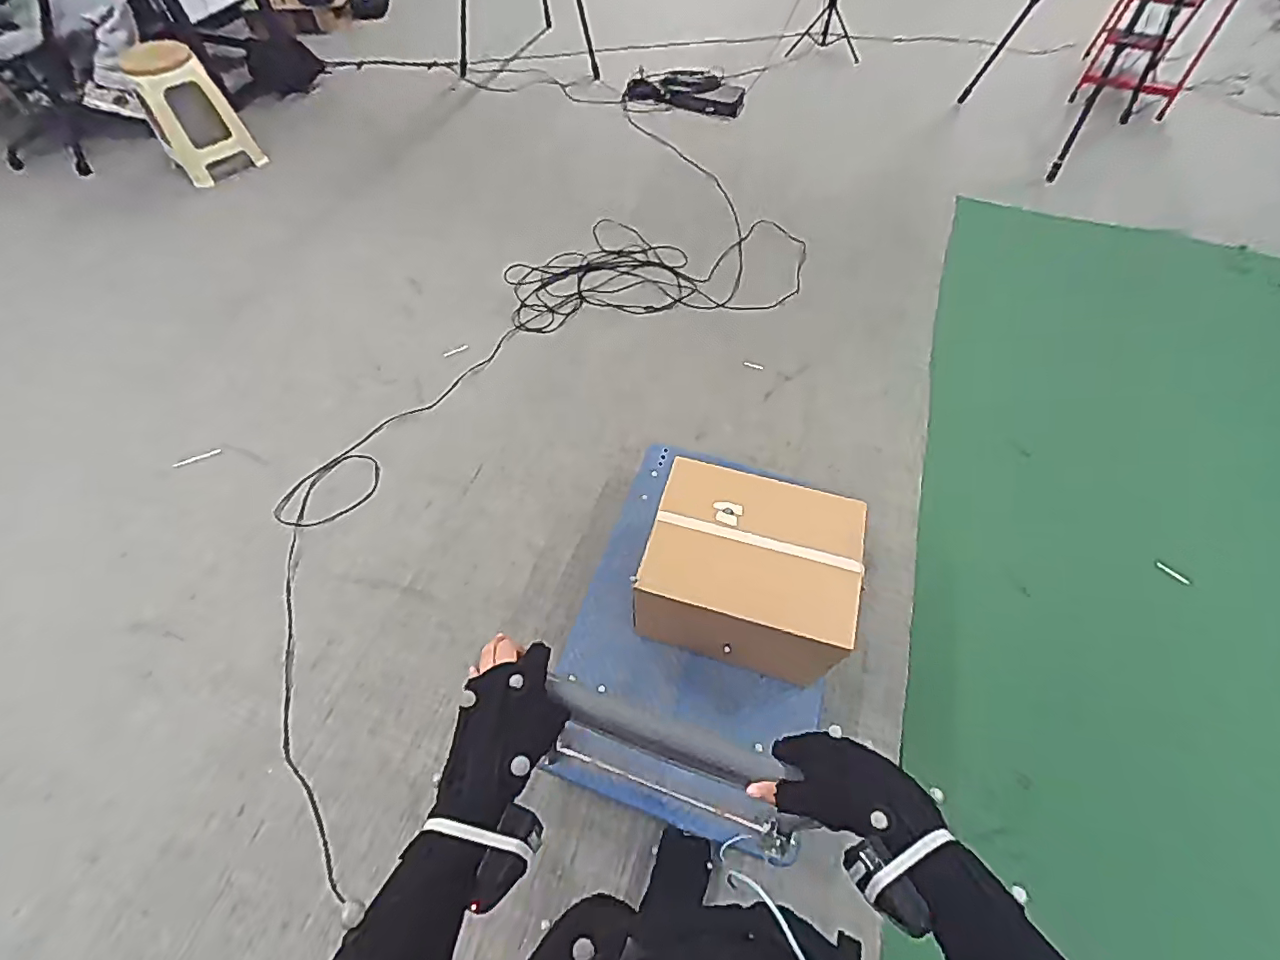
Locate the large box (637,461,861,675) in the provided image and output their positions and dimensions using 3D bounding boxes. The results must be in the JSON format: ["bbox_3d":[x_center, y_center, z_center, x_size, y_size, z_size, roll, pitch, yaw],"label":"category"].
[{"bbox_3d":[0.232,0.201,1.194,0.408,0.320,0.320,13,59,10],"label":"large box"}]
